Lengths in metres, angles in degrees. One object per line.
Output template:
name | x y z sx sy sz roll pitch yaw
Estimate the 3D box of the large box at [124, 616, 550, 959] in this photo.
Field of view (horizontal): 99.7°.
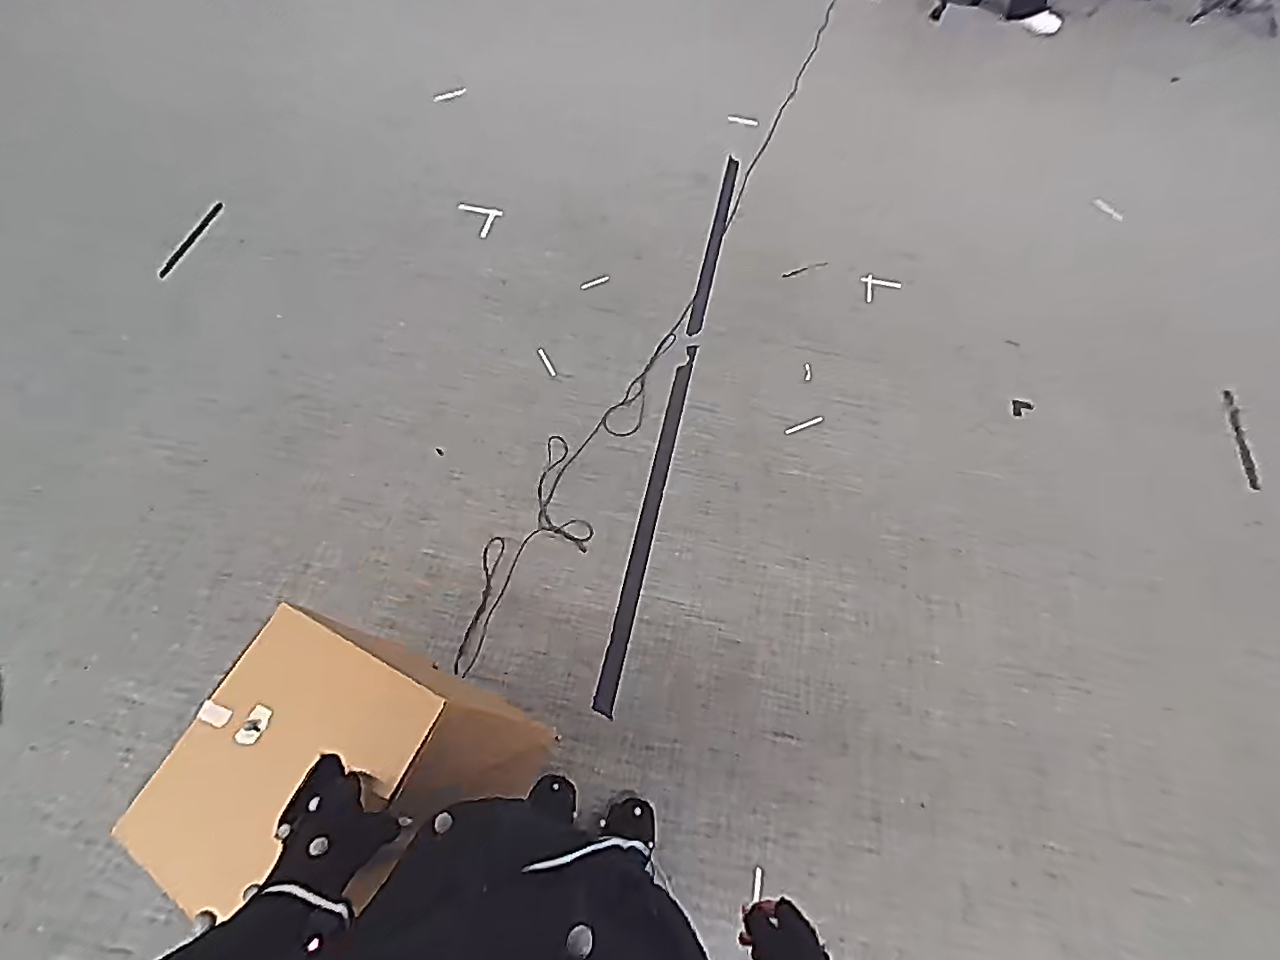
large box | -0.400 0.446 0.821 0.320 0.408 0.320 20 67 22
